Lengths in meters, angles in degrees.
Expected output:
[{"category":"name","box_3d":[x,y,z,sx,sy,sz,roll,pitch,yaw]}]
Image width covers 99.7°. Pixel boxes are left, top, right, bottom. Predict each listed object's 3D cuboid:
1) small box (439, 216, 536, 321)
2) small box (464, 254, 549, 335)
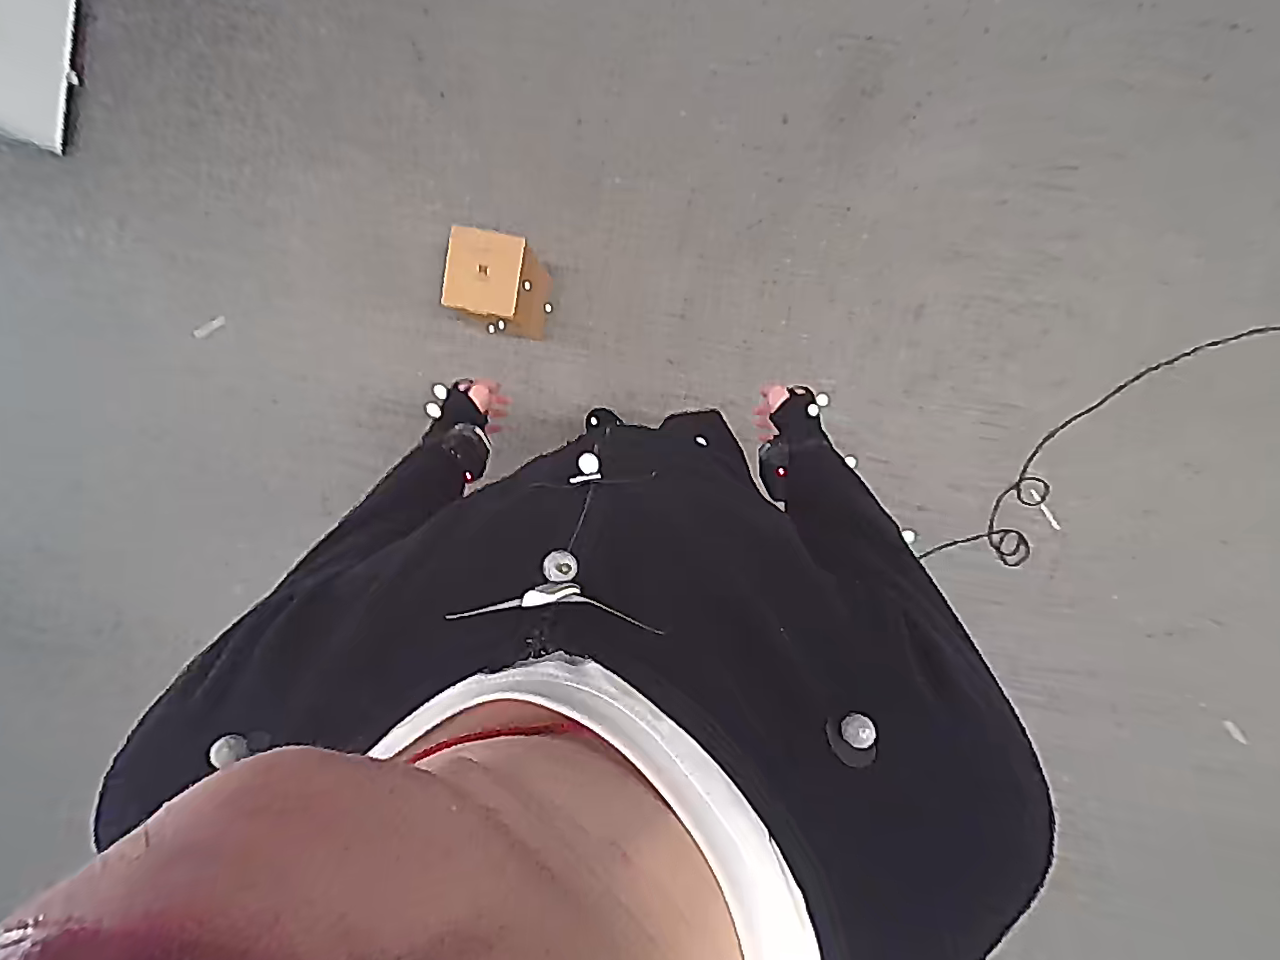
[{"category":"small box","box_3d":[-0.348,-0.481,1.258,0.168,0.176,0.179,10,95,-1]},{"category":"small box","box_3d":[-0.345,-0.496,1.420,0.168,0.176,0.179,13,96,0]}]
